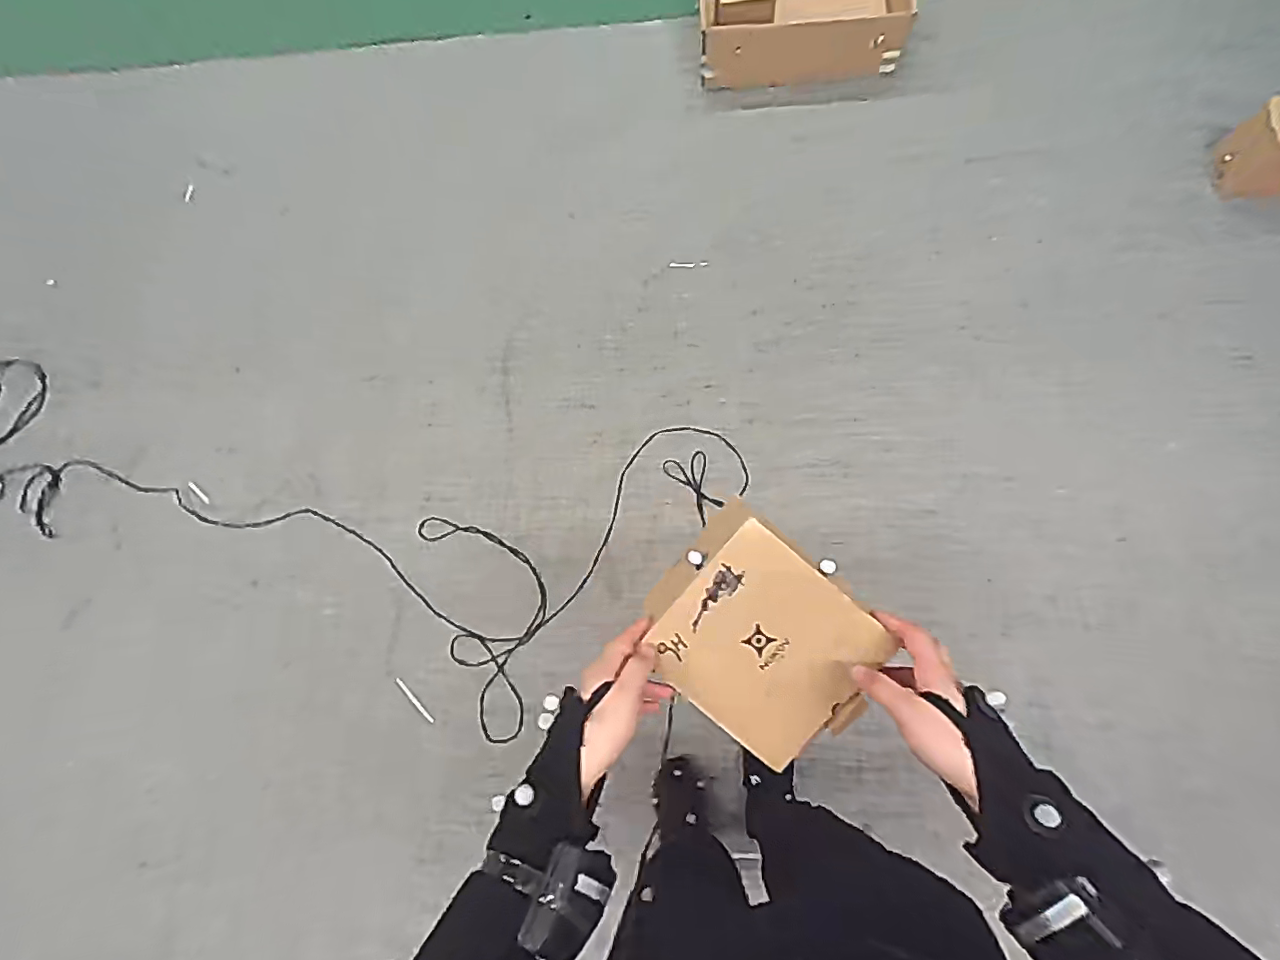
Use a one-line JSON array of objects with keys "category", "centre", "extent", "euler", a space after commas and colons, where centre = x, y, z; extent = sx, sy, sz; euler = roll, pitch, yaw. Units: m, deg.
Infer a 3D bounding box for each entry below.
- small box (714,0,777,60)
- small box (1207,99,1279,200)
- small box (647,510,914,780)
[{"category": "small box", "centre": [0.321, -1.453, 1.673], "extent": [0.168, 0.176, 0.179], "euler": [-4, 76, 4]}, {"category": "small box", "centre": [1.694, -0.874, 1.442], "extent": [0.179, 0.176, 0.168], "euler": [4, 74, 6]}, {"category": "small box", "centre": [0.128, 0.149, 0.555], "extent": [0.179, 0.176, 0.168], "euler": [41, 96, 0]}]
